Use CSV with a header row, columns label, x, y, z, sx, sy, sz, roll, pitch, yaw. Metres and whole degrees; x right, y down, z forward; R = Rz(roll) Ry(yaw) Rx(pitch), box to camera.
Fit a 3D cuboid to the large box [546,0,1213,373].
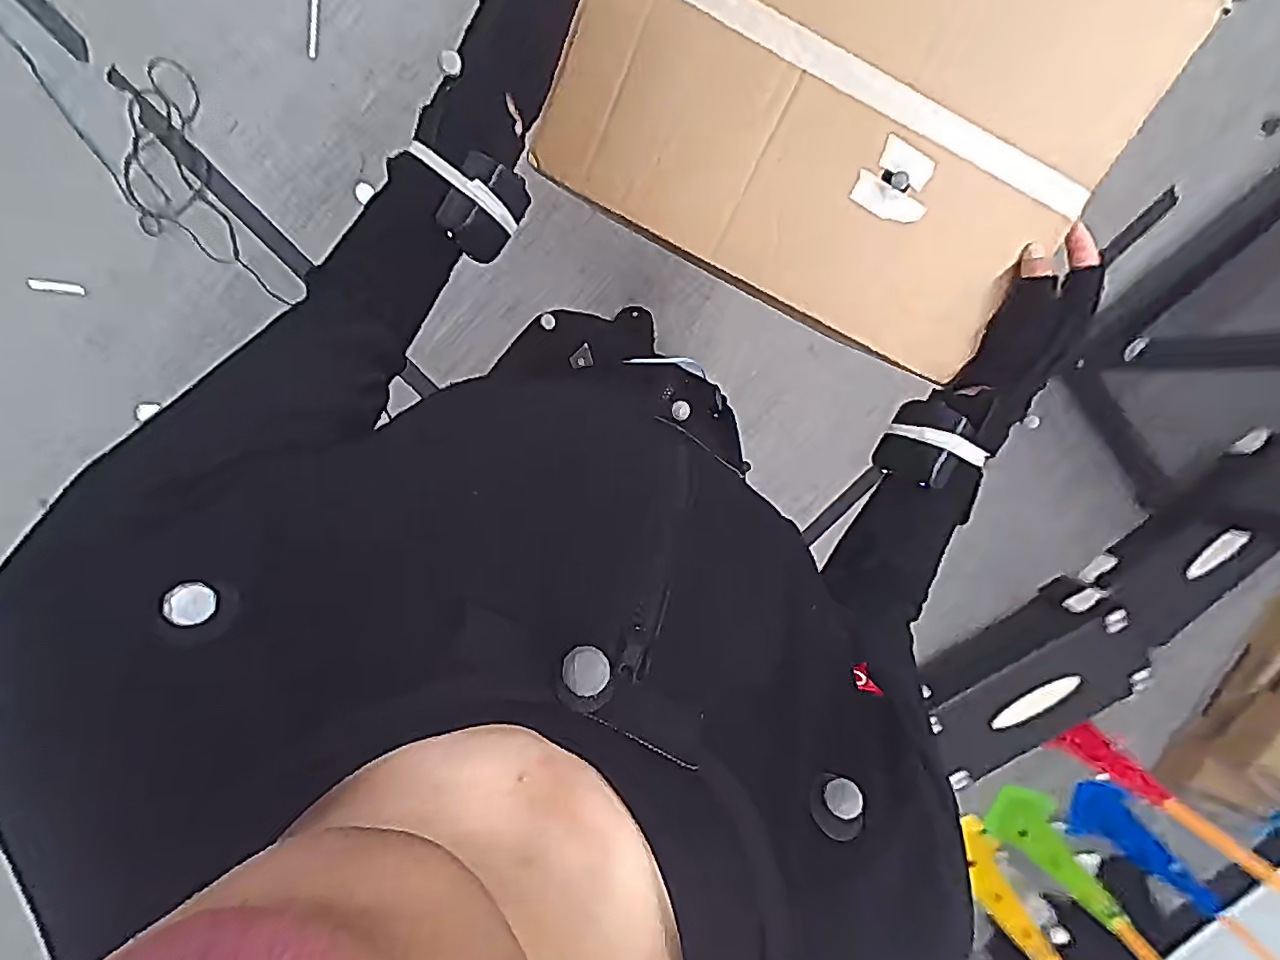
label,x,y,z,sx,sy,sz,roll,pitch,yaw
large box,0.170,-0.355,0.546,0.408,0.320,0.320,26,112,-6
